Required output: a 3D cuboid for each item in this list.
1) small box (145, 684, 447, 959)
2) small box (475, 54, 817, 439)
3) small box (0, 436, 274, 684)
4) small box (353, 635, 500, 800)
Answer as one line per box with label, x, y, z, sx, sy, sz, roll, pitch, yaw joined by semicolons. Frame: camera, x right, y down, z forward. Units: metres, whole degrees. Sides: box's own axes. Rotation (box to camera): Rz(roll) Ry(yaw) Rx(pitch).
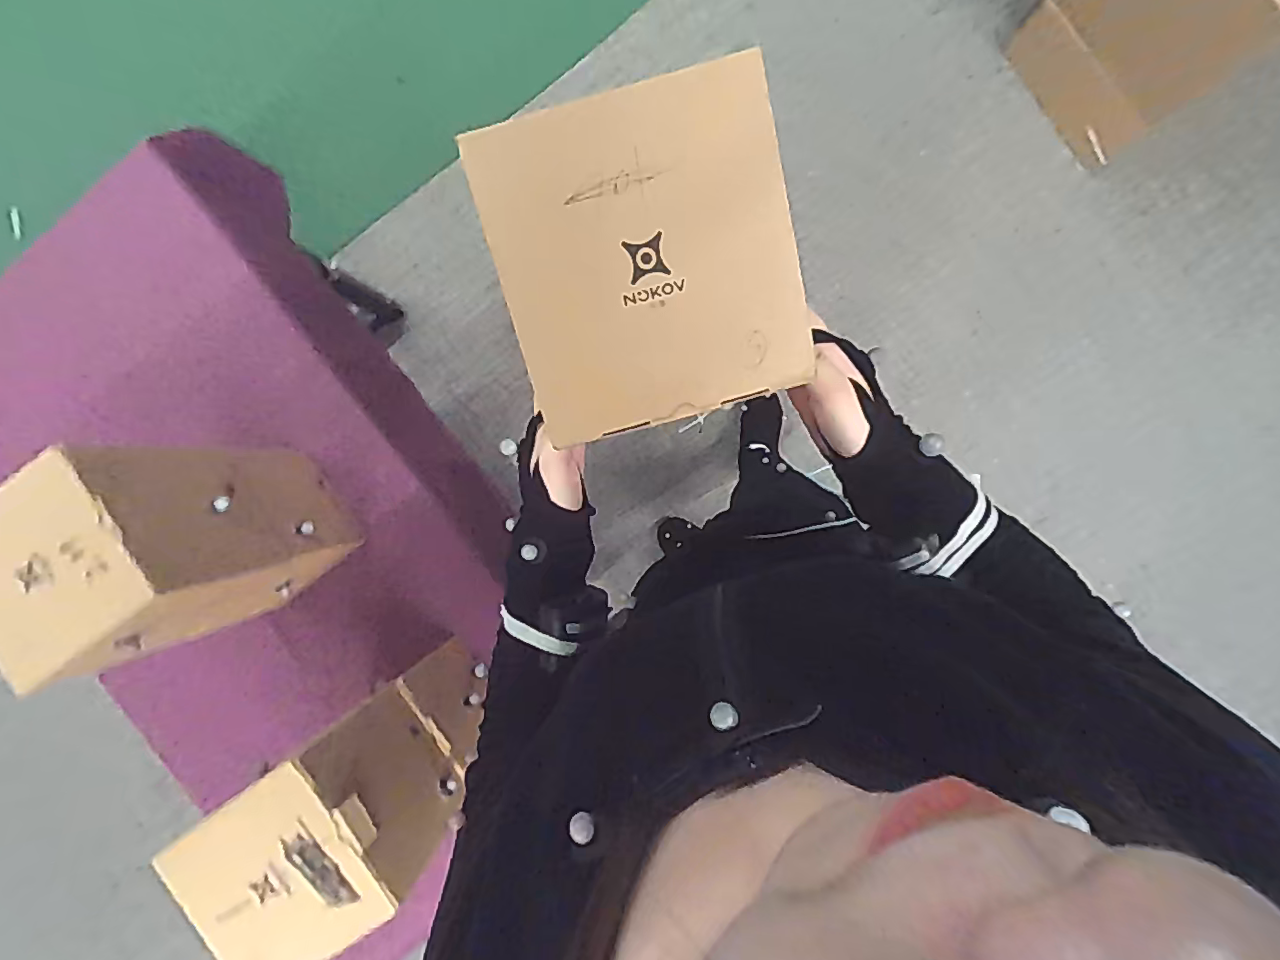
small box;-0.329;0.348;0.563;0.179;0.176;0.168;-35;90;5
small box;0.007;-0.144;0.380;0.168;0.176;0.179;-13;105;1
small box;-0.543;0.071;0.565;0.179;0.176;0.168;-34;91;4
small box;-0.311;0.339;0.727;0.179;0.176;0.168;-36;89;4
